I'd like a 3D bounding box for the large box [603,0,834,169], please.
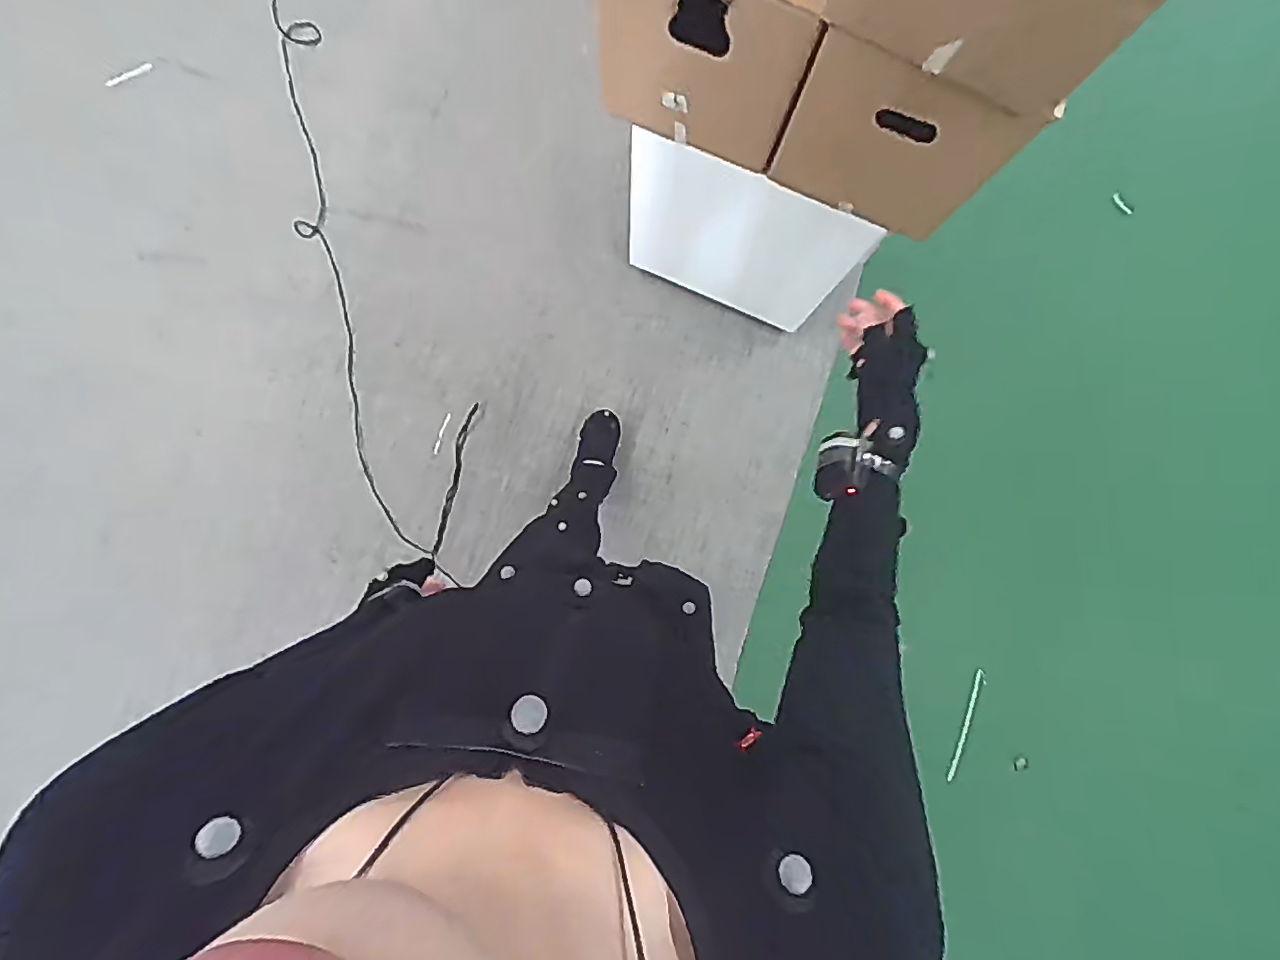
[{"bbox_3d":[0.154,-0.797,0.839,0.320,0.320,0.408,22,85,0],"label":"large box"}]
